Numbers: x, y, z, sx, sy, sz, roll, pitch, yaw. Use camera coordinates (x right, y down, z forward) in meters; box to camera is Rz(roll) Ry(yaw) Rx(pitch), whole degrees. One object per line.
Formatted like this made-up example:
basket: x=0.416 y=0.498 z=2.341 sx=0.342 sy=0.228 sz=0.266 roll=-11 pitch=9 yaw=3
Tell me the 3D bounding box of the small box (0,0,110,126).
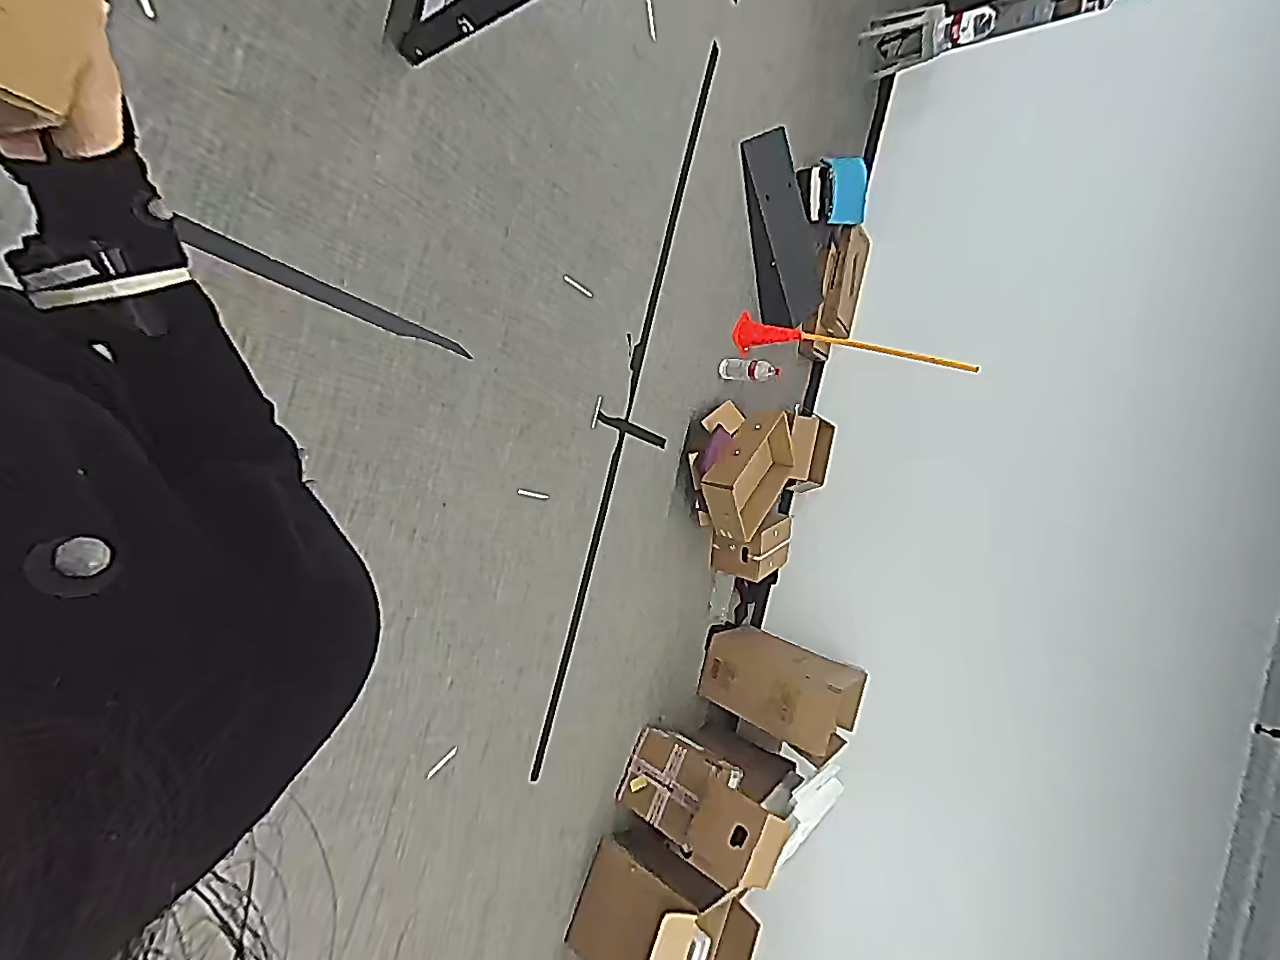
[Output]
small box: x=-0.318 y=-0.263 z=0.198 sx=0.168 sy=0.176 sz=0.179 roll=17 pitch=91 yaw=-61
